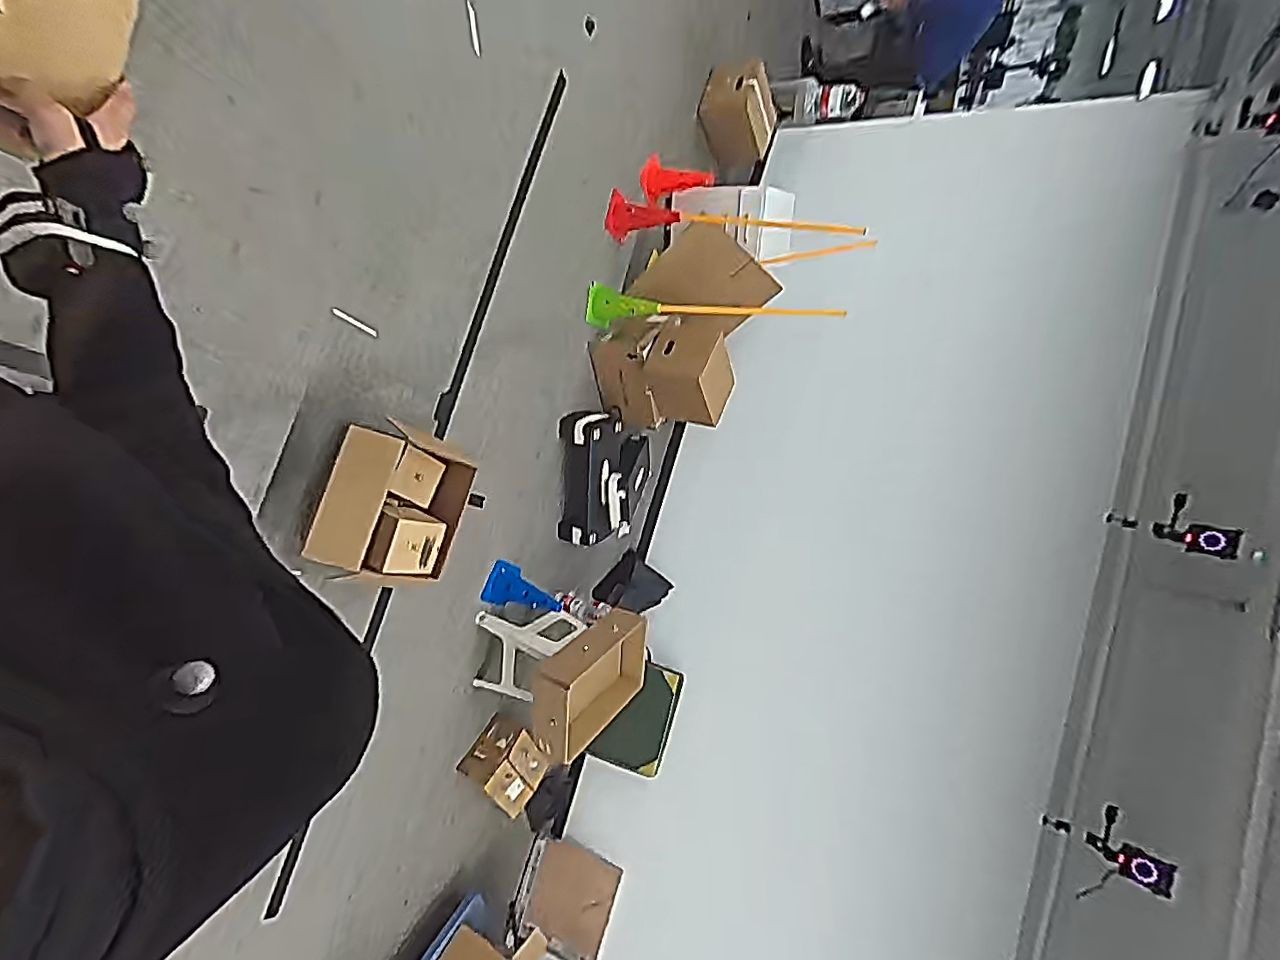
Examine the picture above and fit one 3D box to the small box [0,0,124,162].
[{"bbox_3d":[-0.581,-0.405,0.455,0.168,0.176,0.179,13,90,-58],"label":"small box"}]
